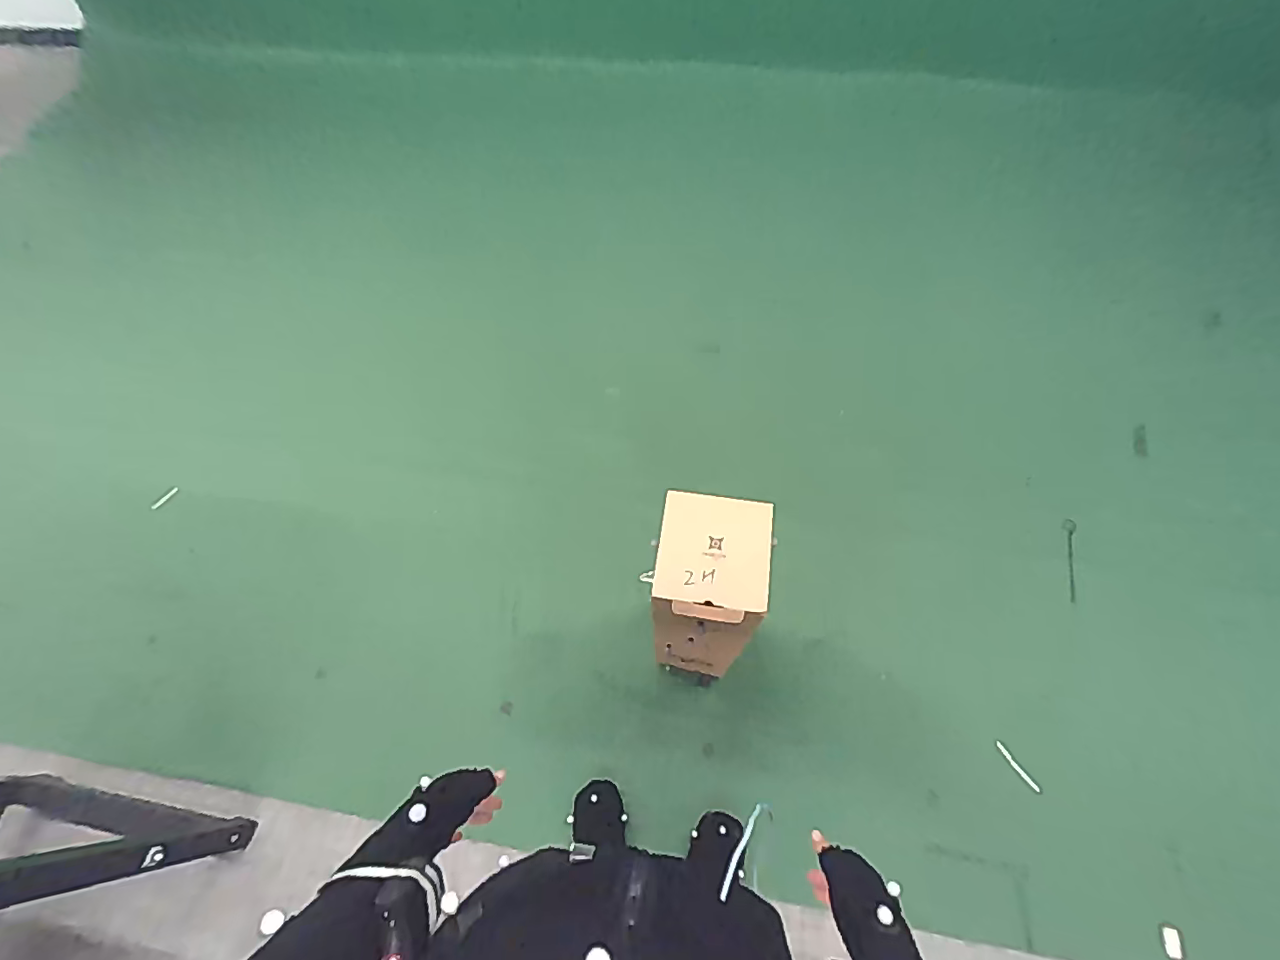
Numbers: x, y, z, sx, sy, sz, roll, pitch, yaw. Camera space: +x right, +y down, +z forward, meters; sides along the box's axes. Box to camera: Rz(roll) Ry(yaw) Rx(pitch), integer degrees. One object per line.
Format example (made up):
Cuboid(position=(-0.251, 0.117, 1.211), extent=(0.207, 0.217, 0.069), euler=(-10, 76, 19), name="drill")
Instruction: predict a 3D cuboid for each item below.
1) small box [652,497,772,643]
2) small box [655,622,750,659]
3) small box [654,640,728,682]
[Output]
Cuboid(position=(0.112, 0.150, 0.877), extent=(0.168, 0.176, 0.179), euler=(8, 63, 6), name="small box")
Cuboid(position=(0.122, 0.224, 1.023), extent=(0.168, 0.176, 0.179), euler=(8, 63, 6), name="small box")
Cuboid(position=(0.134, 0.378, 1.312), extent=(0.168, 0.176, 0.179), euler=(10, 63, 7), name="small box")
